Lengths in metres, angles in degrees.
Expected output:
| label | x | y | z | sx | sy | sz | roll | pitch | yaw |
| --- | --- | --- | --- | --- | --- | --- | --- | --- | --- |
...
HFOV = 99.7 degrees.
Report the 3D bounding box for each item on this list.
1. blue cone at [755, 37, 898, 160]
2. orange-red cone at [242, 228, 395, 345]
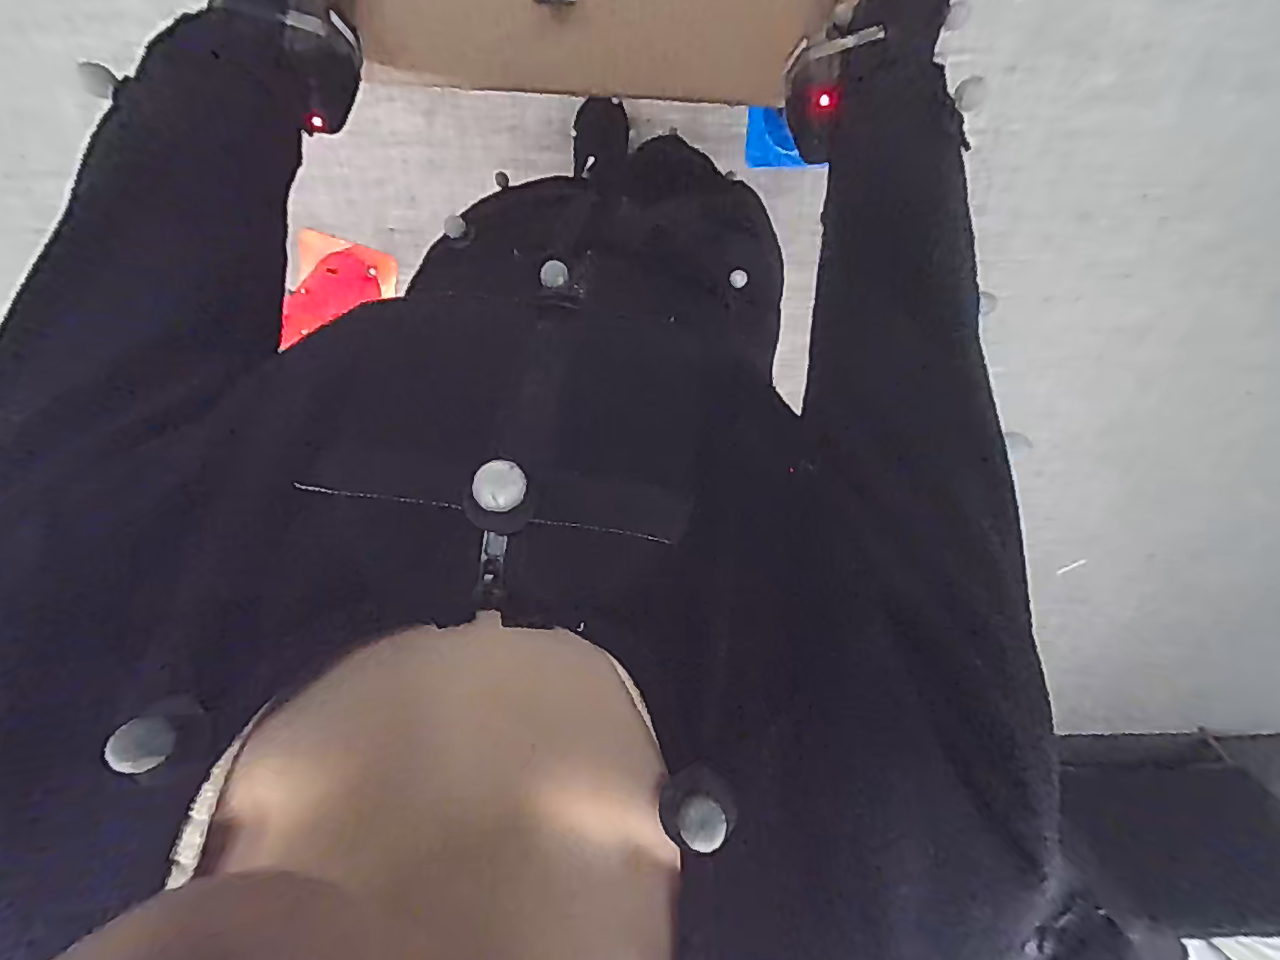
| label | x | y | z | sx | sy | sz | roll | pitch | yaw |
| --- | --- | --- | --- | --- | --- | --- | --- | --- | --- |
| blue cone | 0.322 | -0.629 | 0.893 | 0.192 | 0.380 | 0.193 | 0 | 124 | -2 |
| orange-red cone | -0.651 | -0.336 | 1.051 | 0.199 | 0.360 | 0.198 | 17 | 121 | -11 |
